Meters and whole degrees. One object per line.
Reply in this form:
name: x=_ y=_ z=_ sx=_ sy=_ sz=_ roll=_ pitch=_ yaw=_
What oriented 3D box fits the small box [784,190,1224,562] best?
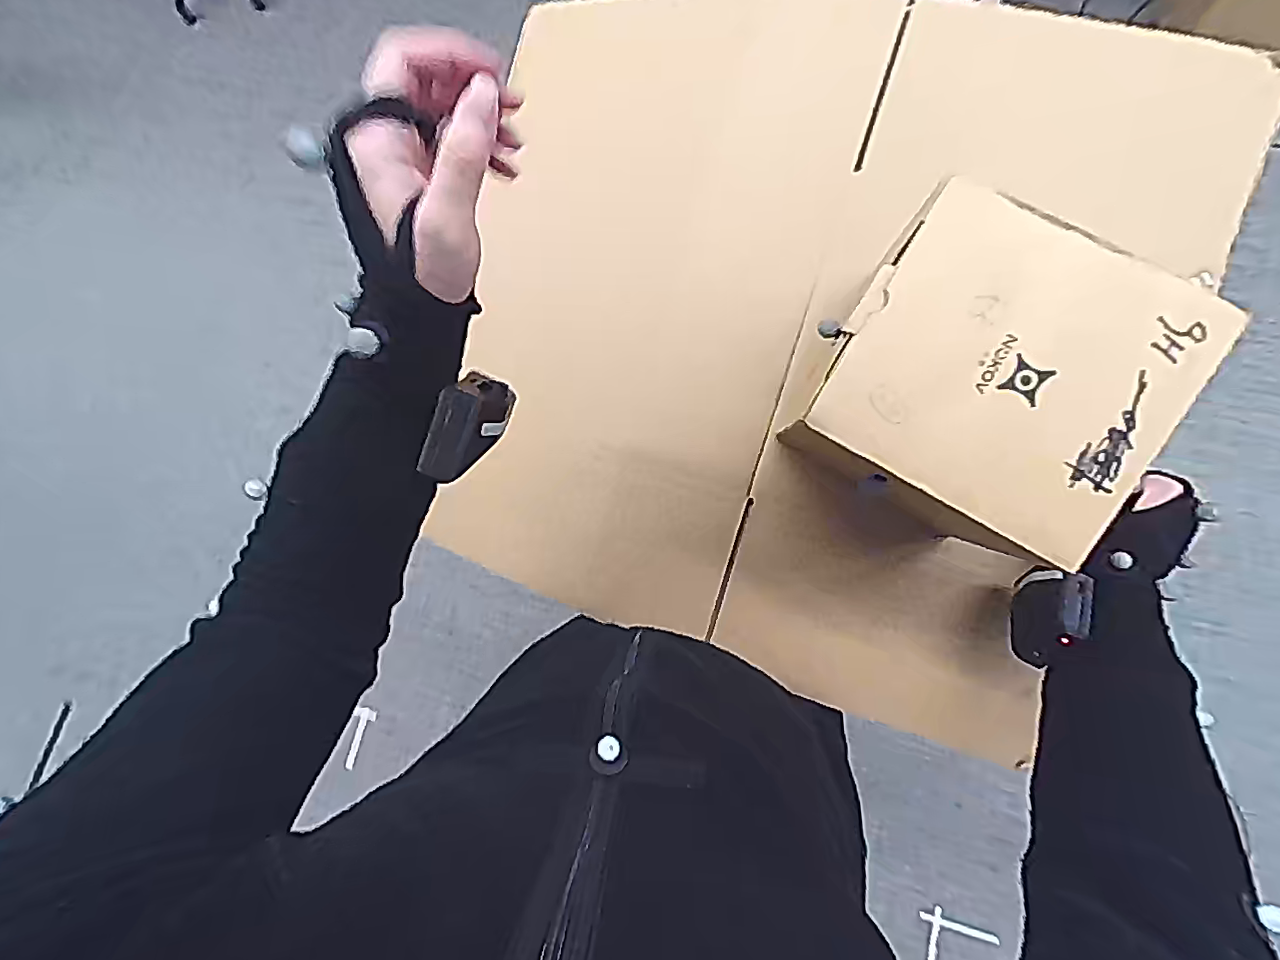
small box: x=0.223 y=-0.062 z=0.396 sx=0.179 sy=0.176 sz=0.168 roll=31 pitch=96 yaw=8
